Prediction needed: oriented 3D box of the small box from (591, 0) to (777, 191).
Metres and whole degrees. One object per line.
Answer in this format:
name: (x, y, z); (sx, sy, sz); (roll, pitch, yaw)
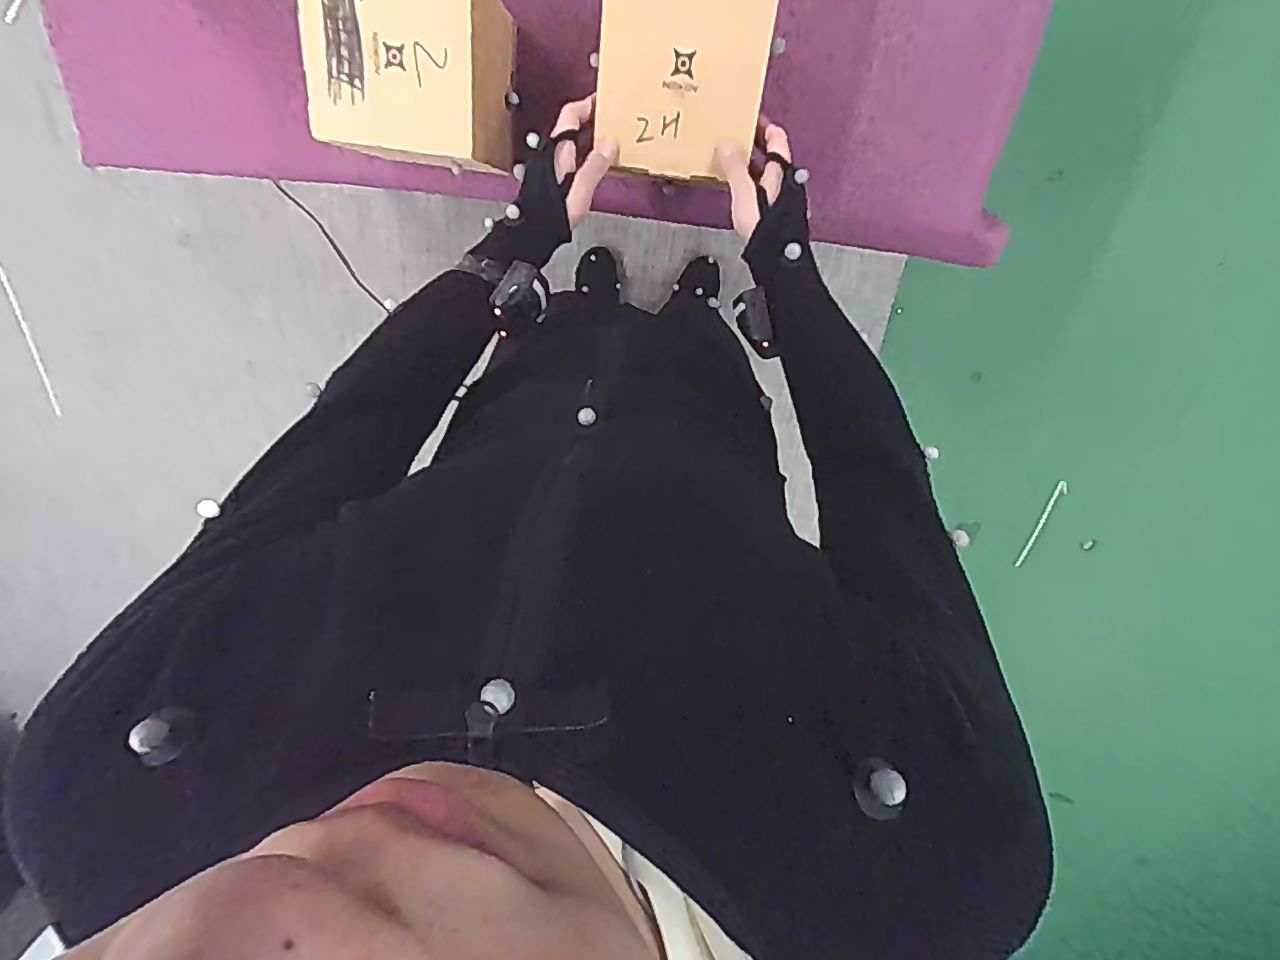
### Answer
small box: (0.044, -0.435, 0.605); (0.168, 0.176, 0.179); (8, 116, 1)
